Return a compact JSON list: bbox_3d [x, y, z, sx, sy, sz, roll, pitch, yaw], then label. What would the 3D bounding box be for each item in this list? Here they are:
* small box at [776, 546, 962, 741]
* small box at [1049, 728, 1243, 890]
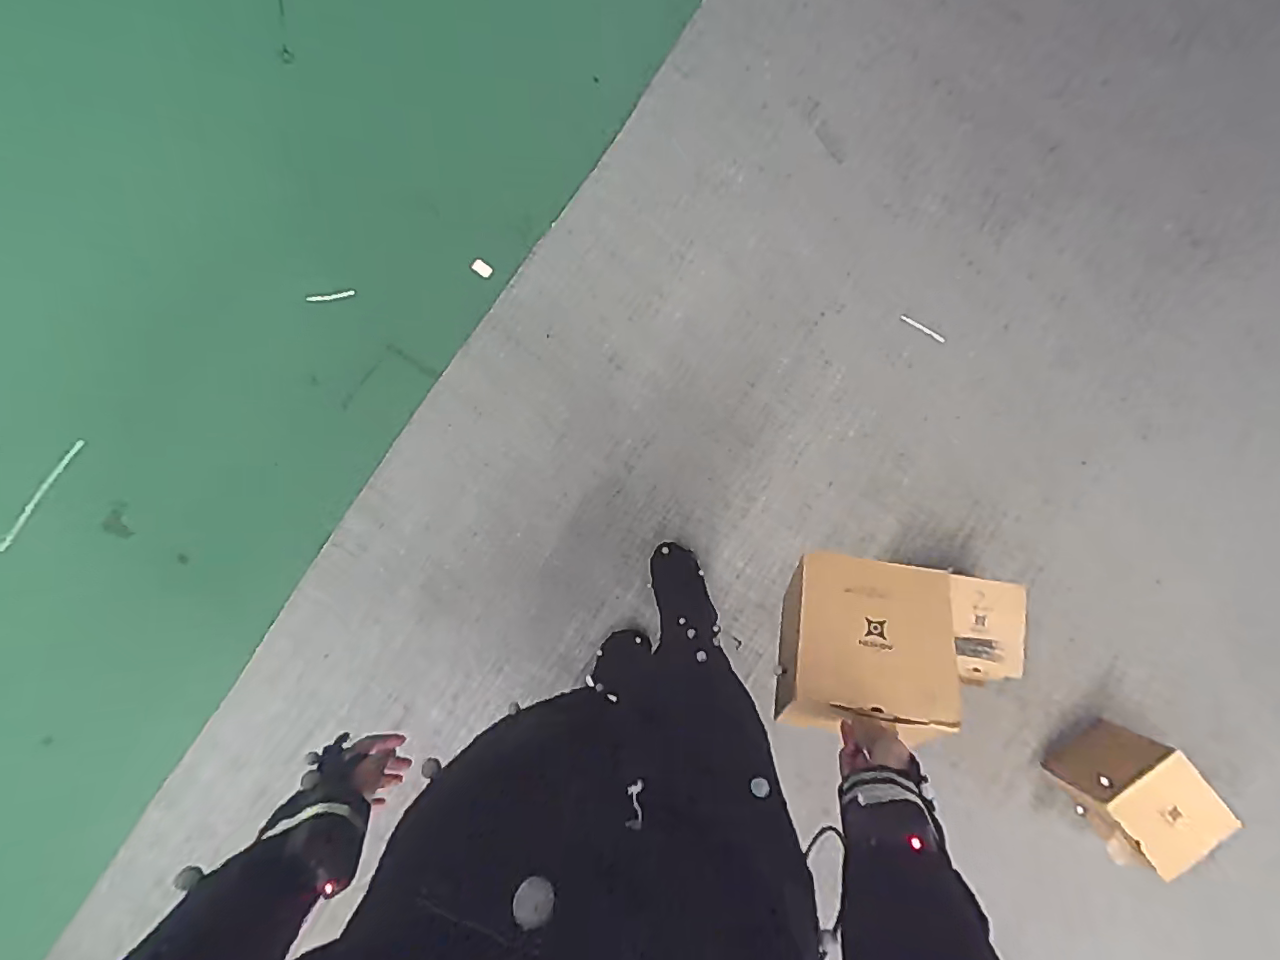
[{"bbox_3d":[0.263,0.204,0.658,0.168,0.176,0.179,8,58,9],"label":"small box"},{"bbox_3d":[0.955,0.615,1.040,0.179,0.176,0.168,-37,84,-1],"label":"small box"}]
